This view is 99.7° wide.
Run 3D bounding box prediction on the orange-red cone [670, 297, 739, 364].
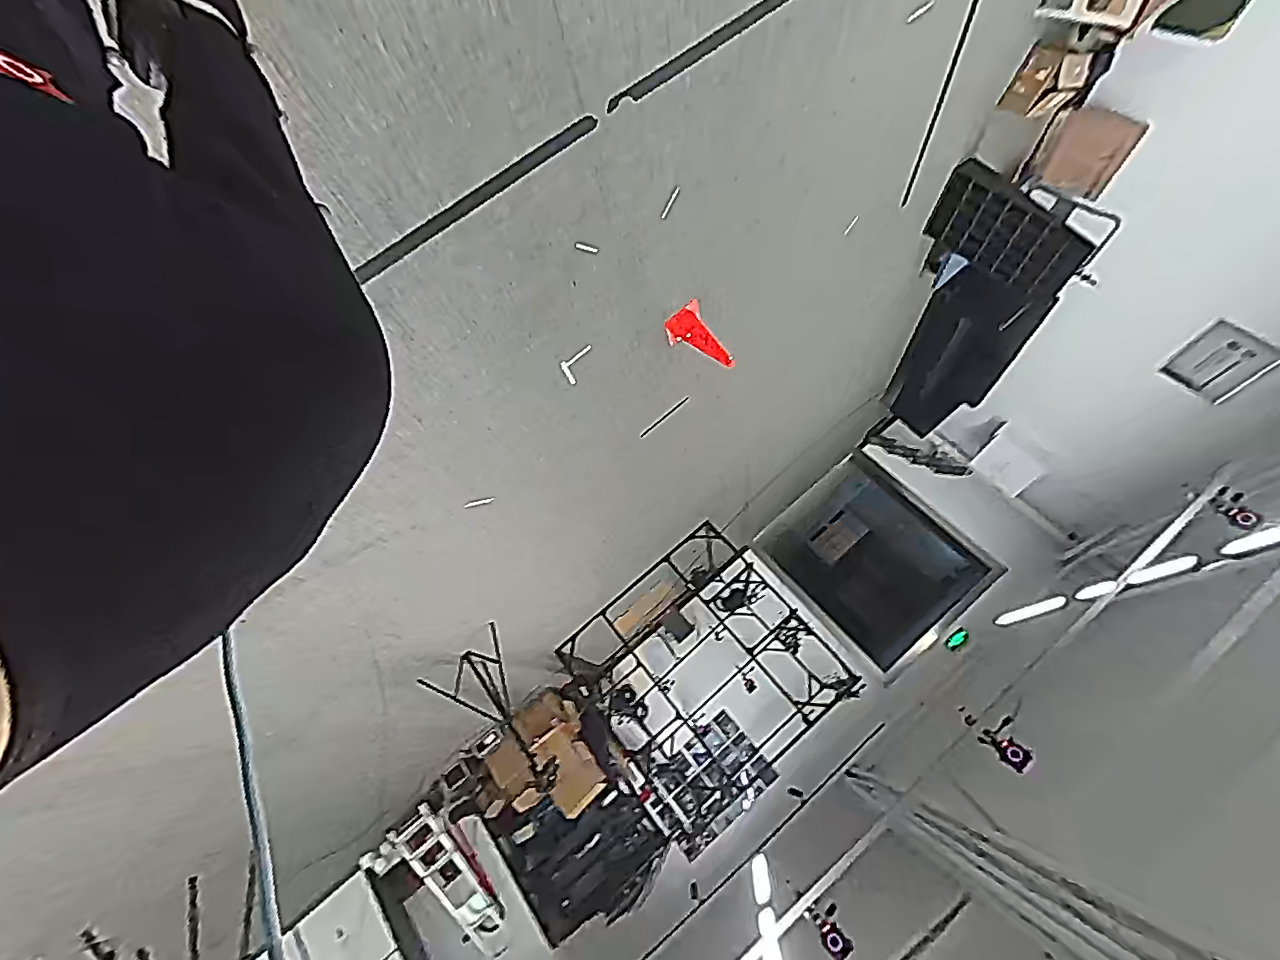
[{"bbox_3d":[0.340,-0.680,2.599,0.199,0.360,0.198,-42,158,-4],"label":"orange-red cone"}]
